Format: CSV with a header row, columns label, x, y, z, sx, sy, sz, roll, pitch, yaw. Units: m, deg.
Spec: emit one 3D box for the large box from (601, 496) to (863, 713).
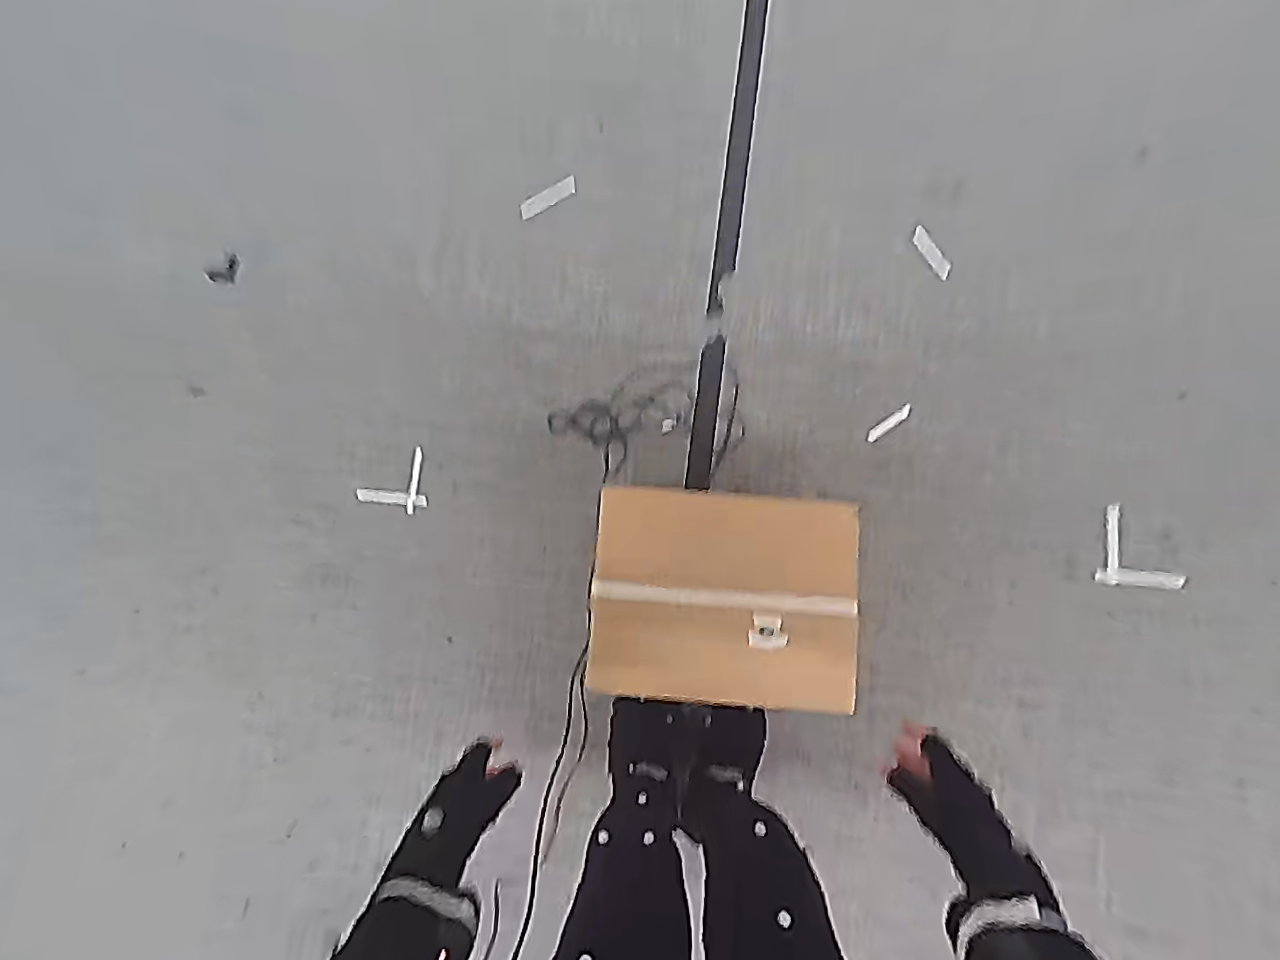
label,x,y,z,sx,sy,sz,roll,pitch,yaw
large box,0.146,0.210,0.988,0.408,0.320,0.320,5,83,1
